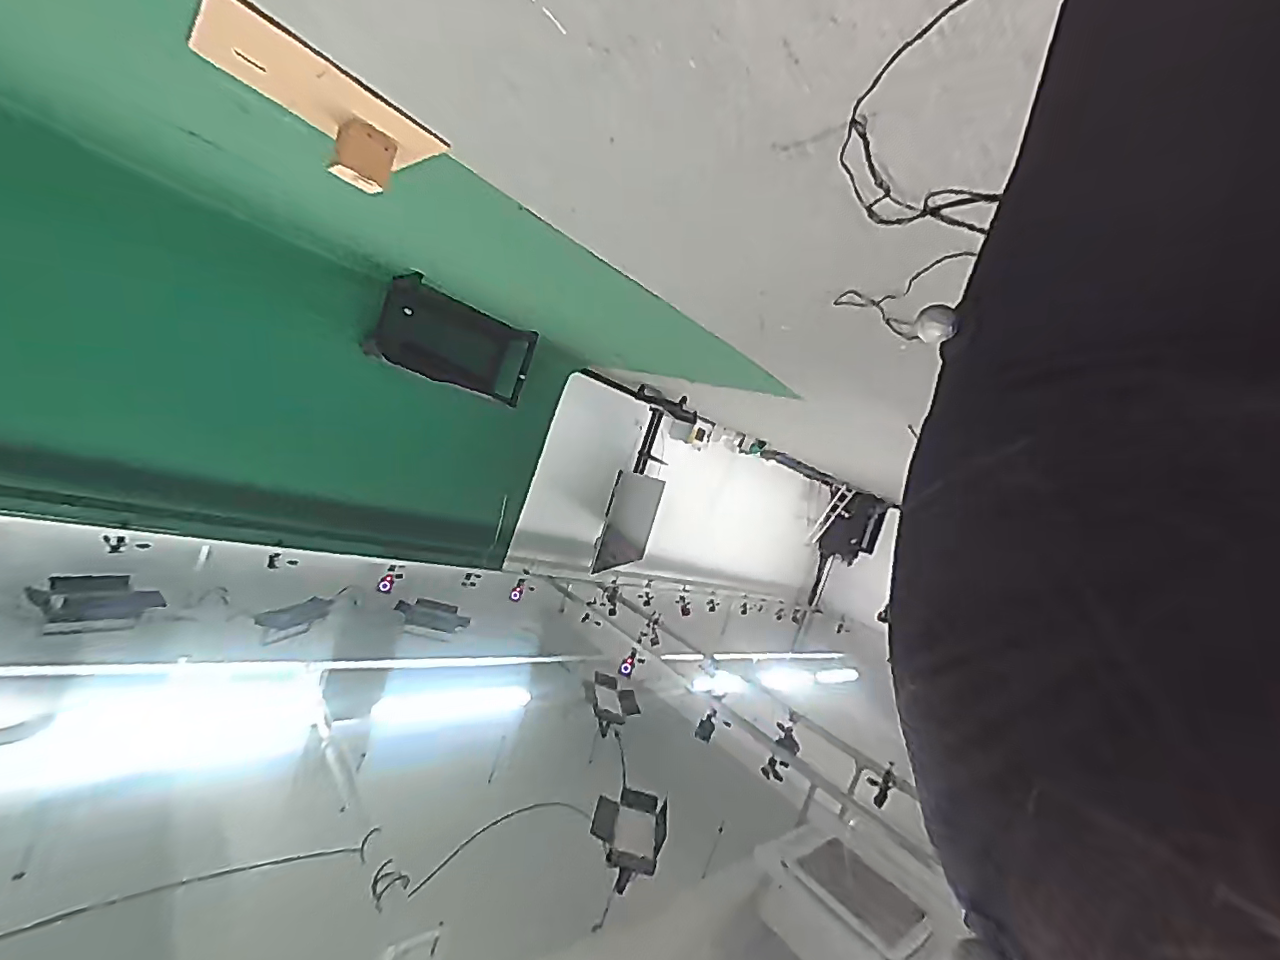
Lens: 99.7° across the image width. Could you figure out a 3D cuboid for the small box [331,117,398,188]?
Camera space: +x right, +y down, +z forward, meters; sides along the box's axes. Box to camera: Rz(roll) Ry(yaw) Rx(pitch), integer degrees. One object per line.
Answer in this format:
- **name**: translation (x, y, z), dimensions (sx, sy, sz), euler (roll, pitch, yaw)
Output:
- **small box**: translation (-1.042, -1.241, 2.049), dimensions (0.179, 0.176, 0.168), euler (23, -175, 43)
